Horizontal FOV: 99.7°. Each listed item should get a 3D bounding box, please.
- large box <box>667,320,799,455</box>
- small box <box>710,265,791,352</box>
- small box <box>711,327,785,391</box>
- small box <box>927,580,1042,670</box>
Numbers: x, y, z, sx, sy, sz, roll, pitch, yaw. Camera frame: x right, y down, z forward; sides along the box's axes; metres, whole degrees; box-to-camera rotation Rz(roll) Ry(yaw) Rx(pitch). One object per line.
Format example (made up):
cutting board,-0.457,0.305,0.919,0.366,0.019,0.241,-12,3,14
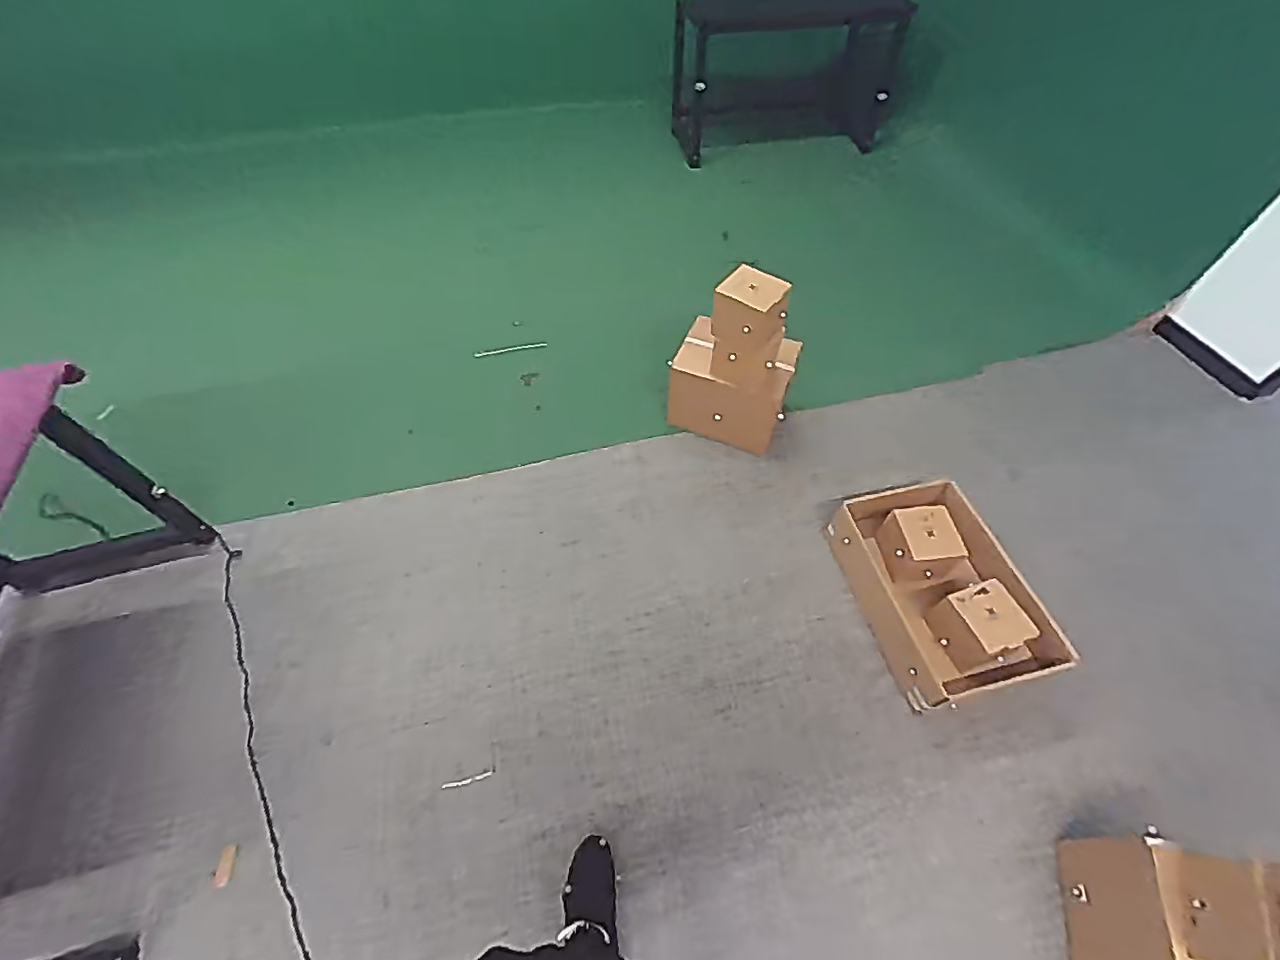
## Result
large box,0.342,-0.344,2.032,0.408,0.320,0.320,18,56,14
small box,0.334,-0.520,1.658,0.179,0.176,0.168,32,62,22
small box,0.351,-0.422,1.788,0.179,0.176,0.168,29,62,19
small box,0.946,0.410,1.502,0.168,0.176,0.179,-16,56,-10
